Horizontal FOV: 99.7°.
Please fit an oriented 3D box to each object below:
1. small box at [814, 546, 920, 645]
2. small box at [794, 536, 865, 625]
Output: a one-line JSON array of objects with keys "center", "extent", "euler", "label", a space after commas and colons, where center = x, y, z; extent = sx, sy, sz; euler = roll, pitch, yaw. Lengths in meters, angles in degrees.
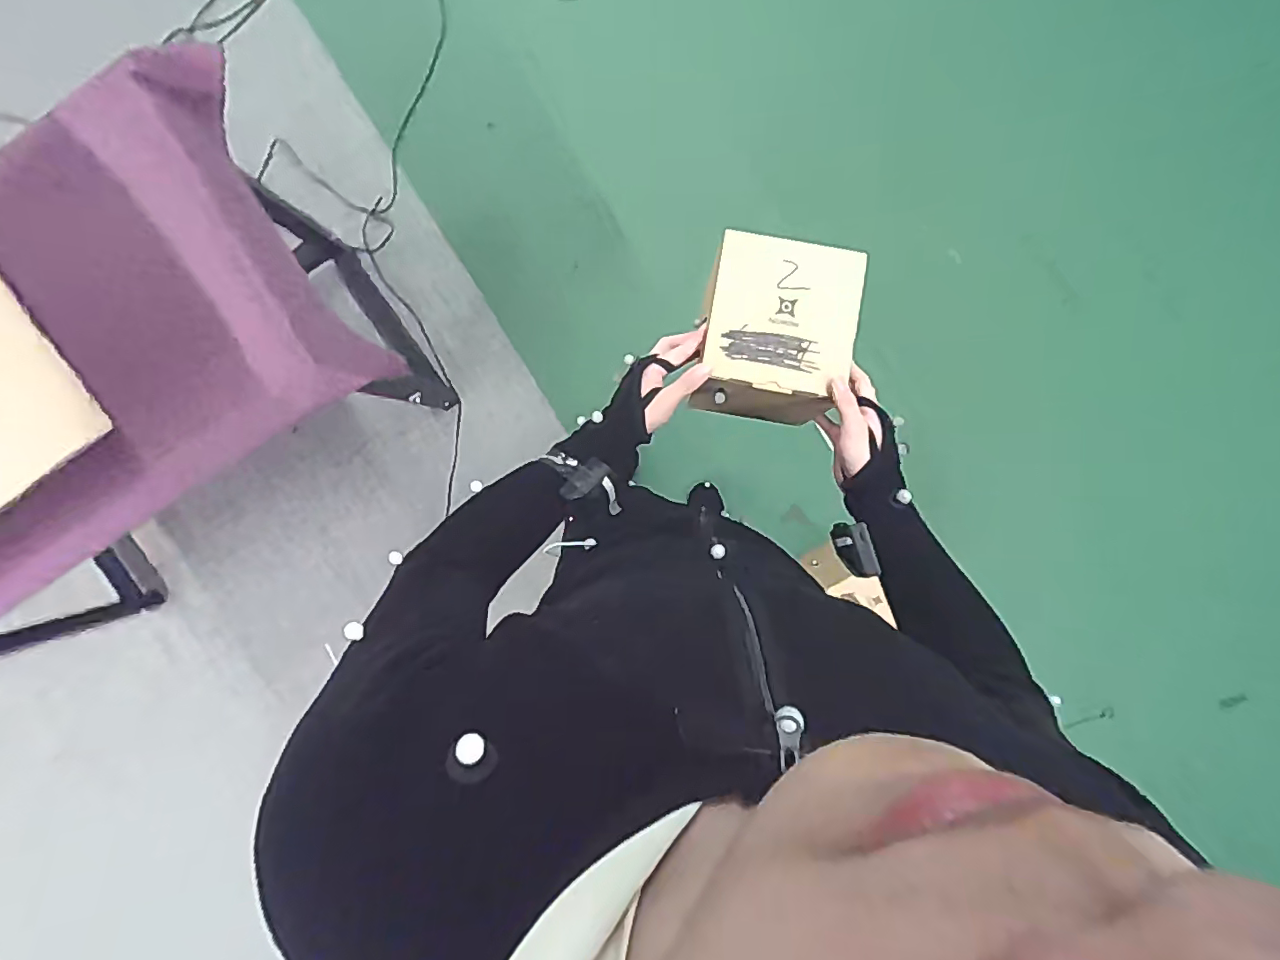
[{"center": [0.565, 0.287, 1.380], "extent": [0.179, 0.176, 0.168], "euler": [-29, 93, 2], "label": "small box"}, {"center": [0.569, 0.278, 1.543], "extent": [0.179, 0.176, 0.168], "euler": [-30, 92, 3], "label": "small box"}]
